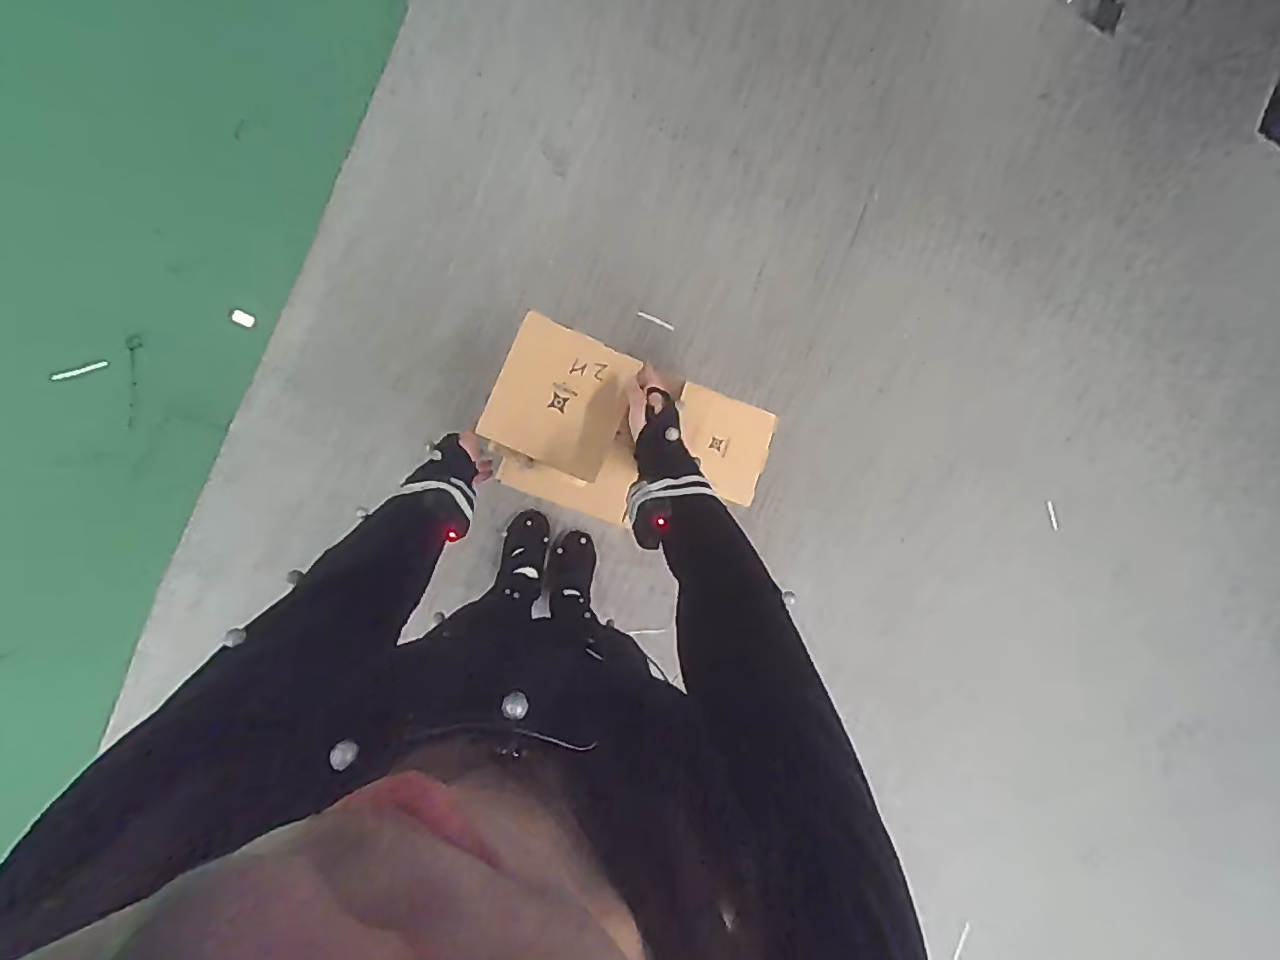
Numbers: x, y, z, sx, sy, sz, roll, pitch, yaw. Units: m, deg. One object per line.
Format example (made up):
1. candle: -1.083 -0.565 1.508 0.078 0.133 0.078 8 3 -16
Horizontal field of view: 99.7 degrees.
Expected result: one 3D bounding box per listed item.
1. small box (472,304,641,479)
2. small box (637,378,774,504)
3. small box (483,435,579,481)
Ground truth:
1. small box: -0.118 -0.116 0.773 0.168 0.176 0.179 25 88 -11
2. small box: 0.110 -0.067 0.982 0.179 0.176 0.168 21 87 -8
3. small box: -0.152 -0.111 0.934 0.168 0.176 0.179 23 88 -11
